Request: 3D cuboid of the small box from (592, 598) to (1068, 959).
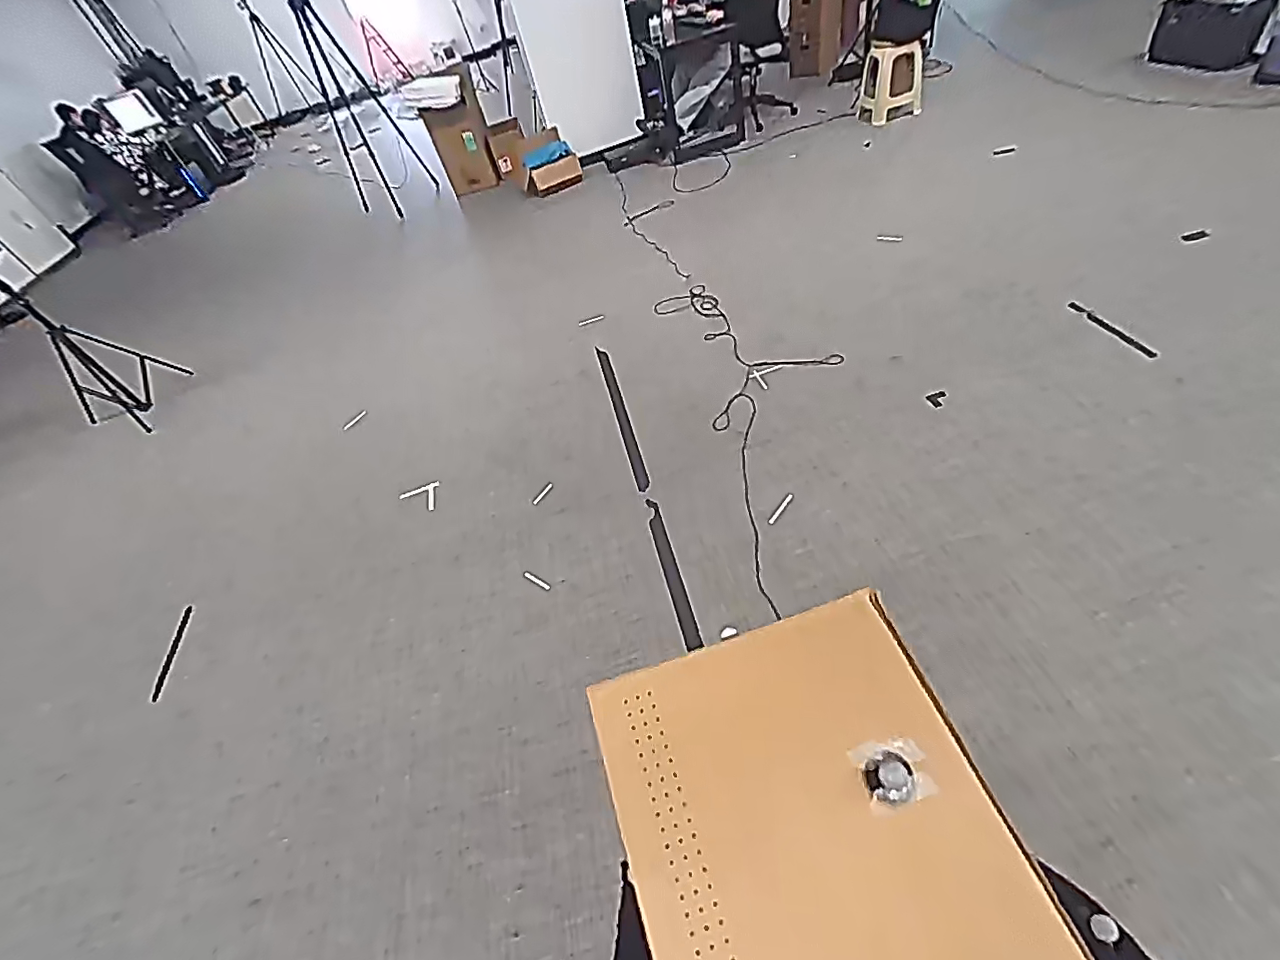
[{"bbox_3d":[0.079,0.201,0.321,0.176,0.168,0.179,-19,58,-4],"label":"small box"}]
